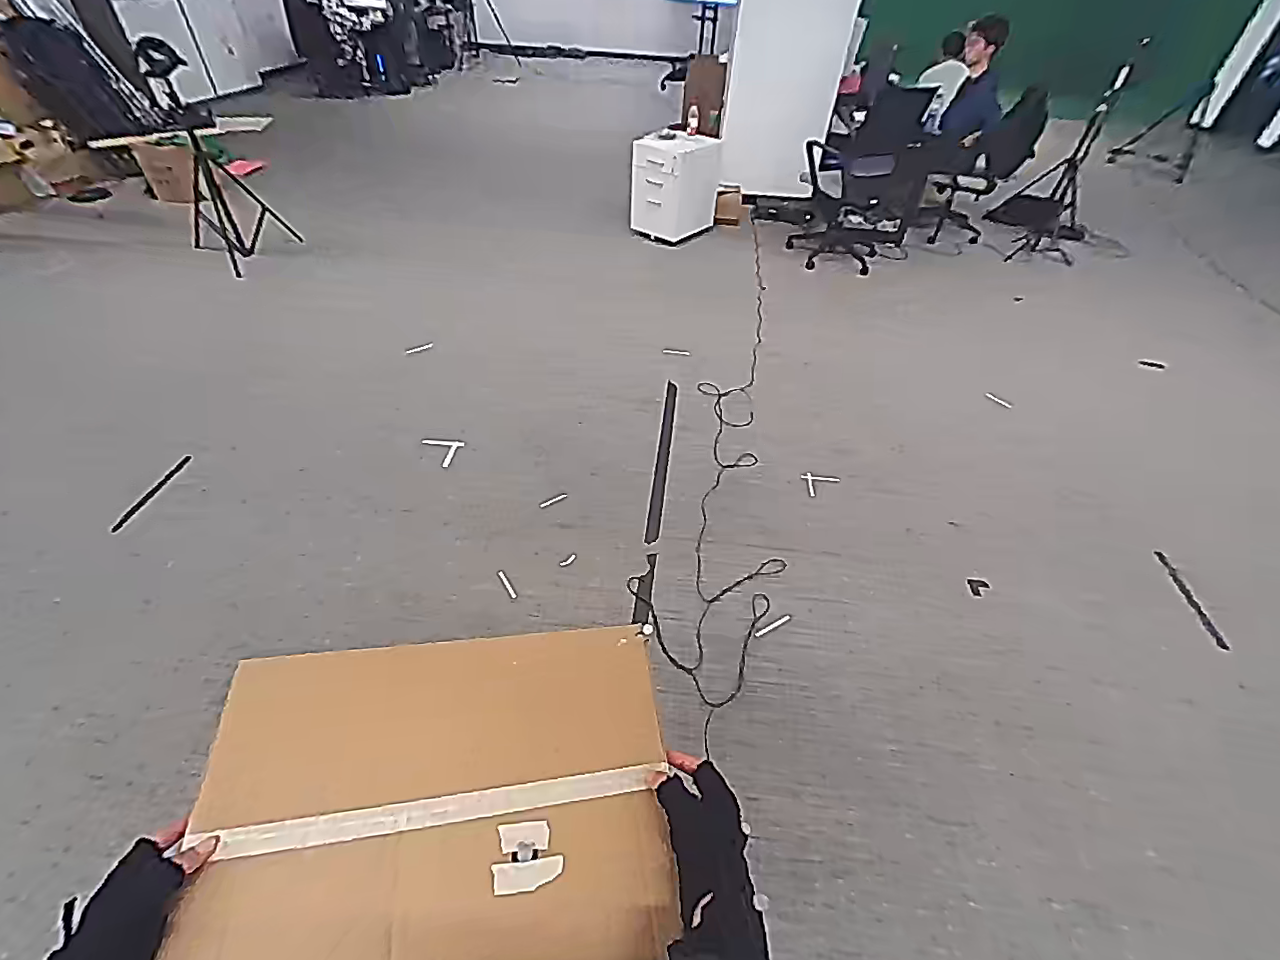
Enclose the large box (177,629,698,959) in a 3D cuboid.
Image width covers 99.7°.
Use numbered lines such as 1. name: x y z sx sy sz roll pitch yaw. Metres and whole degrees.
1. large box: -0.191 0.392 0.607 0.408 0.320 0.320 -1 51 -12
